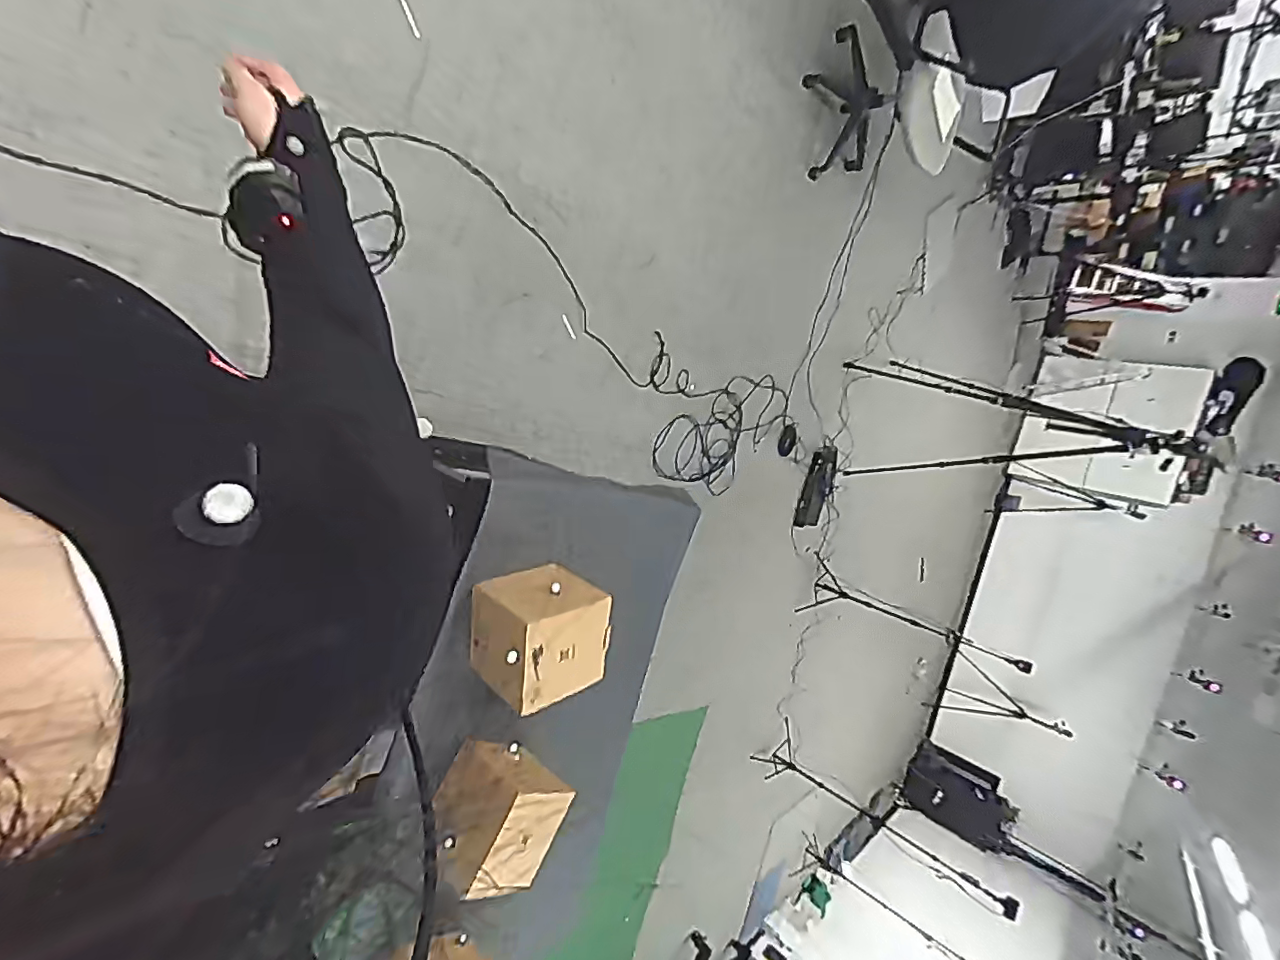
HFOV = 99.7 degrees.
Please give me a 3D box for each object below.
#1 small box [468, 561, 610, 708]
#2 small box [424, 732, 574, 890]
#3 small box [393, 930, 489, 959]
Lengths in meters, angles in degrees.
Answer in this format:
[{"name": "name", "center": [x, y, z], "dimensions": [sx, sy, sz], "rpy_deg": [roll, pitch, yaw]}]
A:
[{"name": "small box", "center": [-0.178, 0.257, 0.952], "dimensions": [0.179, 0.176, 0.168], "rpy_deg": [-8, 110, -45]}, {"name": "small box", "center": [-0.261, 0.593, 0.986], "dimensions": [0.168, 0.176, 0.179], "rpy_deg": [42, 71, -49]}, {"name": "small box", "center": [-0.378, 0.972, 0.988], "dimensions": [0.168, 0.176, 0.179], "rpy_deg": [42, 71, -49]}]
